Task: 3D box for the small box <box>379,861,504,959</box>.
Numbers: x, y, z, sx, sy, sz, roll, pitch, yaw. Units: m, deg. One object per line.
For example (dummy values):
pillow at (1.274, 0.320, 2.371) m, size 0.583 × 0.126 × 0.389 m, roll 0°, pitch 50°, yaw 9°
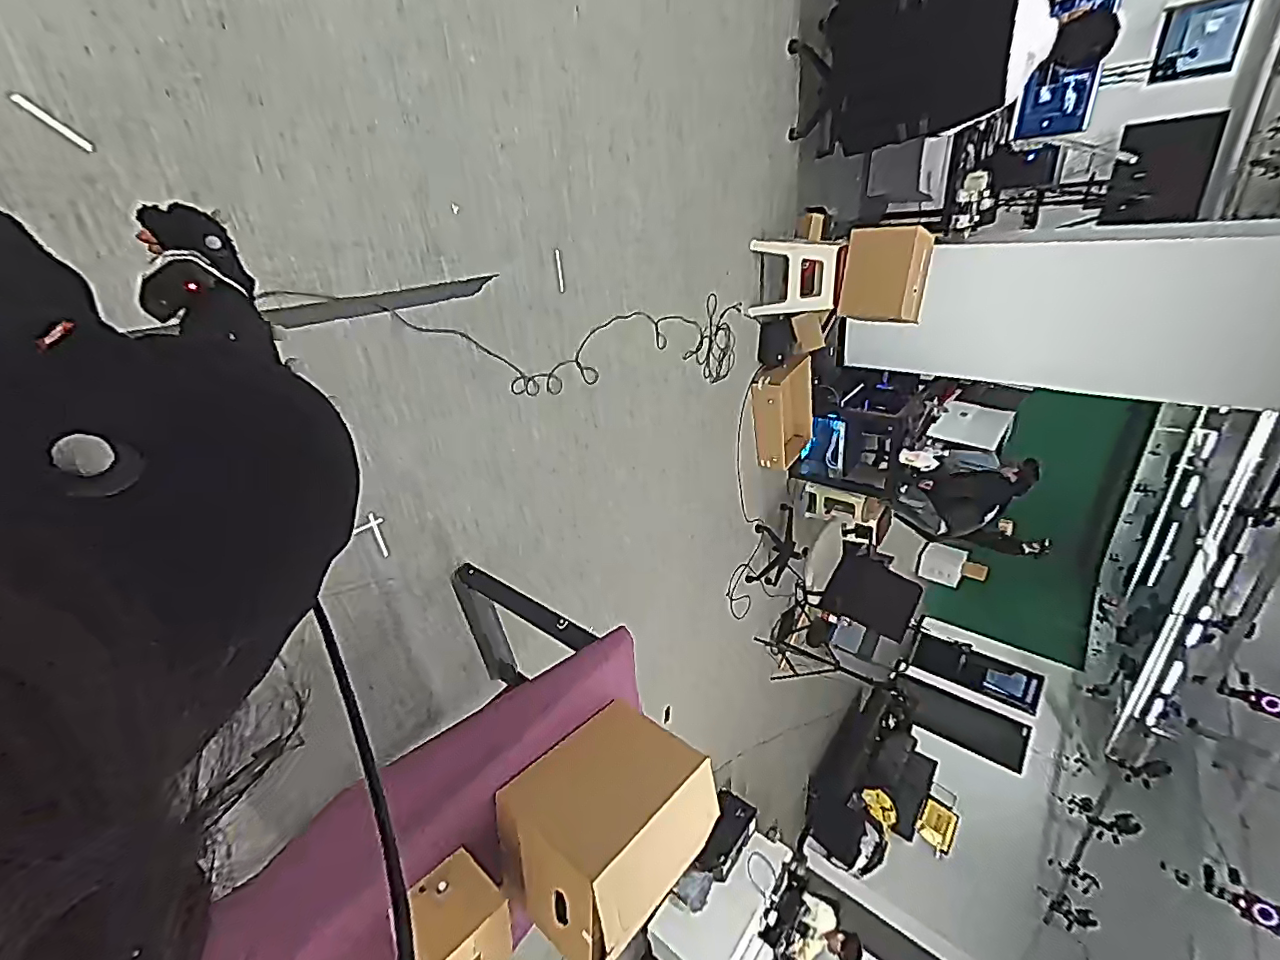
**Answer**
small box at (-0.388, 0.911, 1.062) m, size 0.168 × 0.176 × 0.179 m, roll -19°, pitch 118°, yaw -48°
